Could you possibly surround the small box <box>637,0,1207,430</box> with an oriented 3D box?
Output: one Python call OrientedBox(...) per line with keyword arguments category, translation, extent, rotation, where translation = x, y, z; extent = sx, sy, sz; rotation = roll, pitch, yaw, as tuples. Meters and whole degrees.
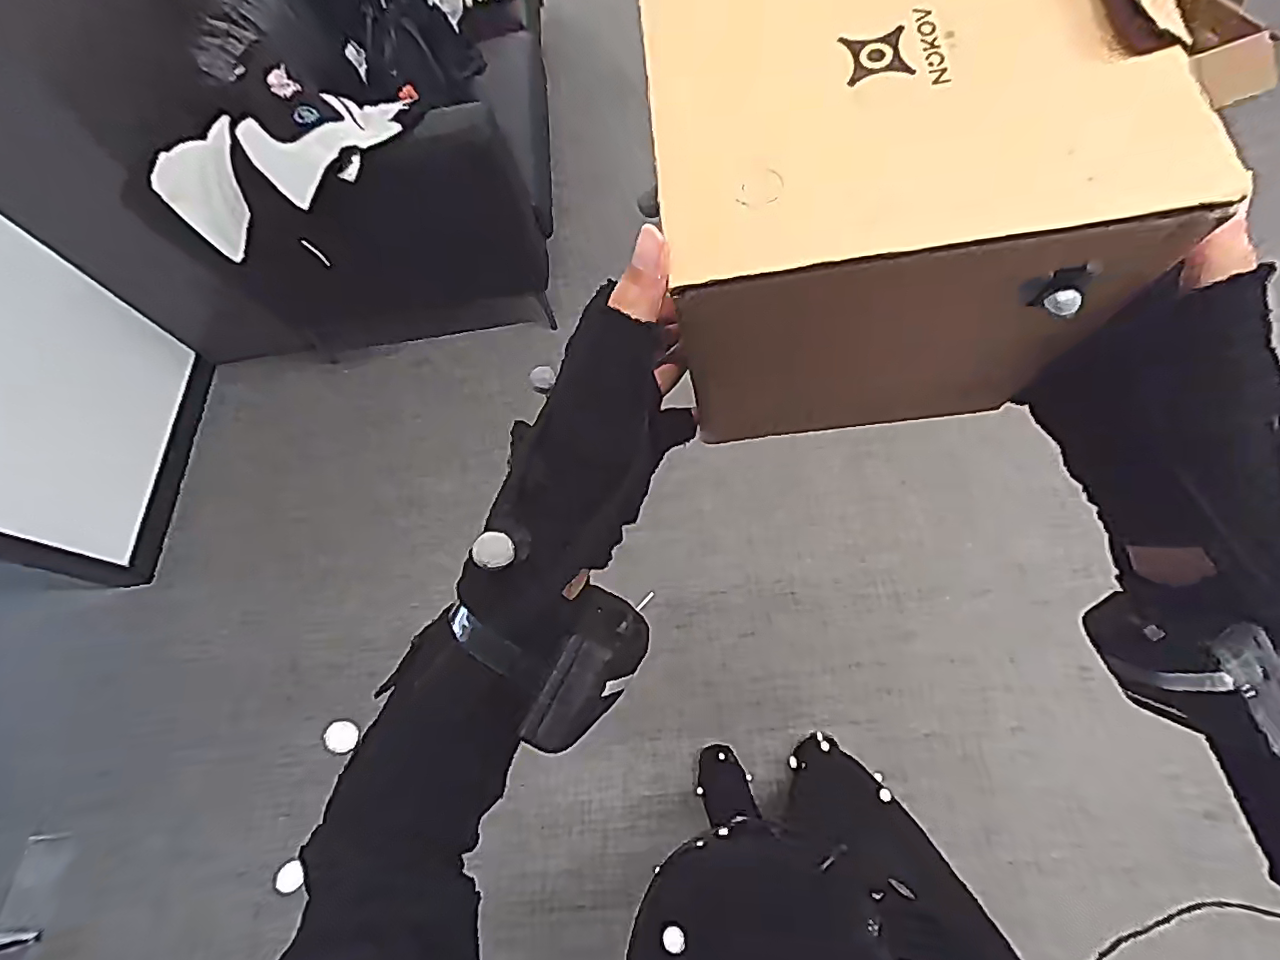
OrientedBox(category="small box", translation=(0.101, -0.134, 0.279), extent=(0.179, 0.176, 0.168), rotation=(-6, 75, 7))
